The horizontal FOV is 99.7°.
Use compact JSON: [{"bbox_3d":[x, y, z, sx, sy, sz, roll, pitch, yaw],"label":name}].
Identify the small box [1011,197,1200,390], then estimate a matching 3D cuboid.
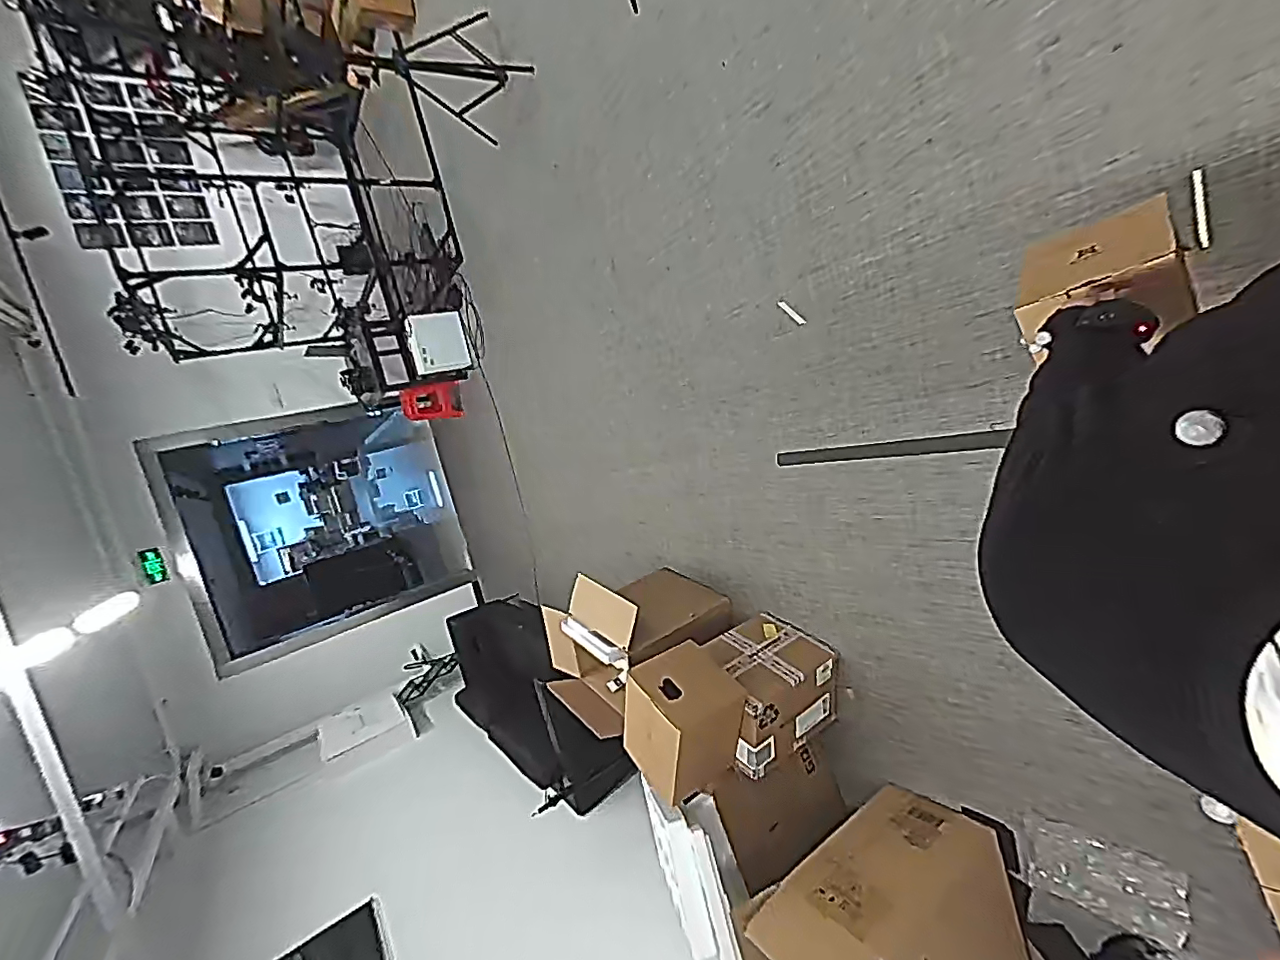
[{"bbox_3d":[0.650,-0.248,0.762,0.168,0.179,0.176,-14,125,47],"label":"small box"}]
